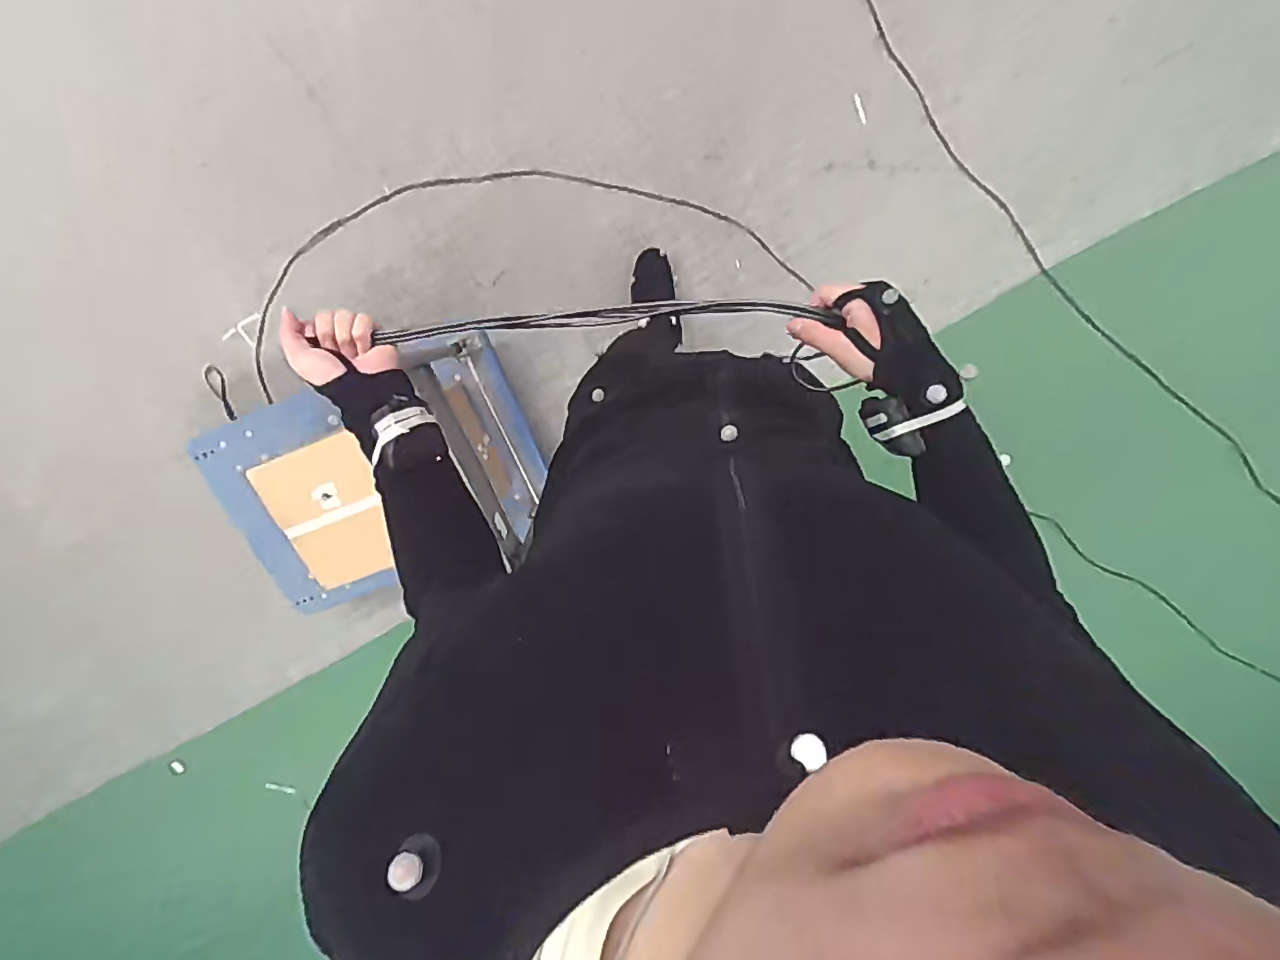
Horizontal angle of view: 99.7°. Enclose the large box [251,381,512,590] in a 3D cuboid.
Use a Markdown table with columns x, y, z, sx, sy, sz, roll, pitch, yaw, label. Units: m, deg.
| x | y | z | sx | sy | sz | roll | pitch | yaw | label |
| --- | --- | --- | --- | --- | --- | --- | --- | --- | --- |
| -0.579 | -0.001 | 1.294 | 0.408 | 0.320 | 0.320 | -20 | 107 | 7 | large box |
